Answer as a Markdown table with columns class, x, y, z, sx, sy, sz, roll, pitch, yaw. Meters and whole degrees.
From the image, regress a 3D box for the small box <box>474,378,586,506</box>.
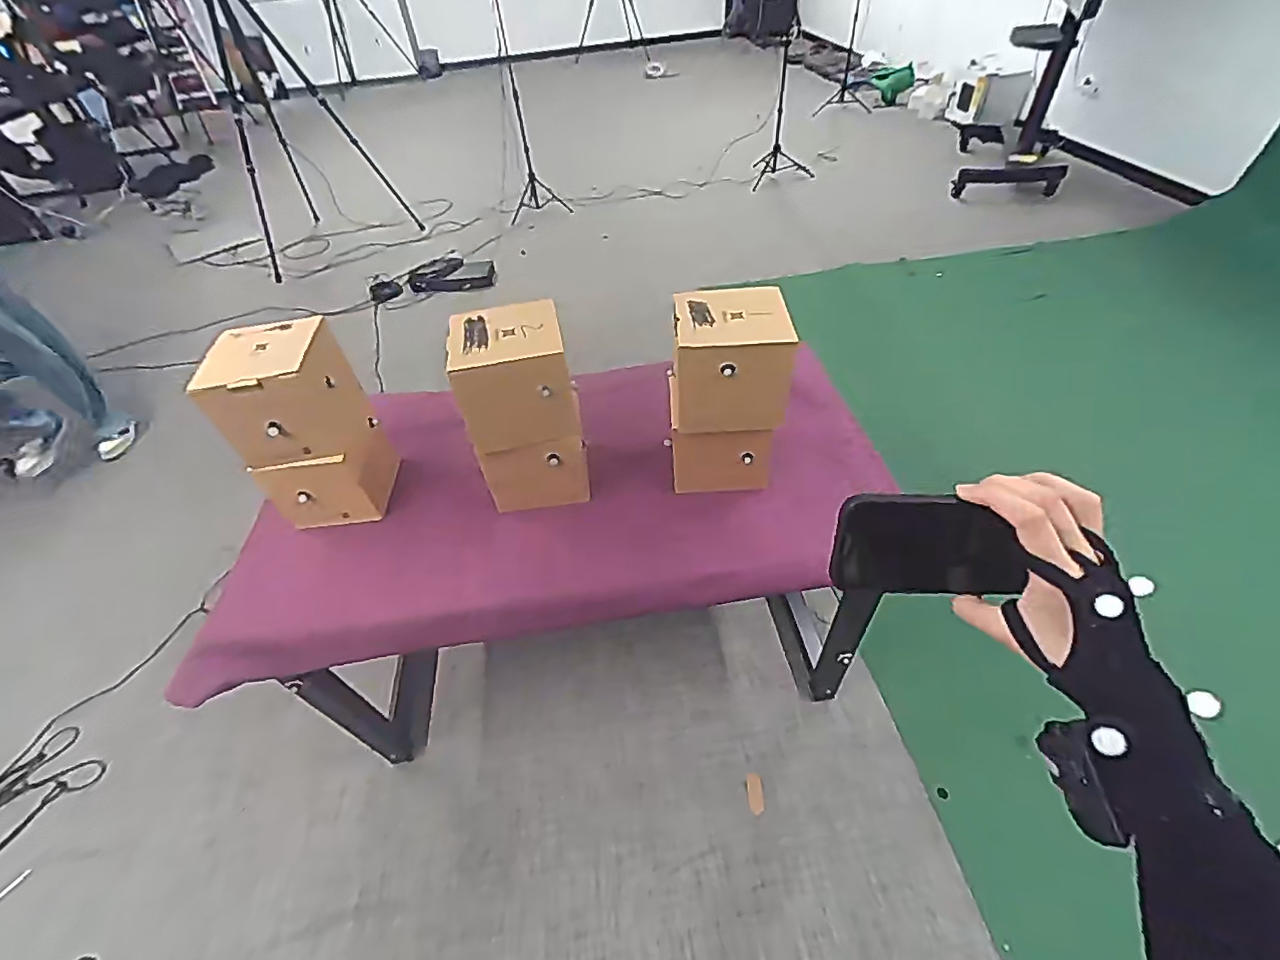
| class | x | y | z | sx | sy | sz | roll | pitch | yaw |
| --- | --- | --- | --- | --- | --- | --- | --- | --- | --- |
| small box | -0.196 | -0.069 | 1.024 | 0.179 | 0.176 | 0.168 | -6 | 47 | -1 |

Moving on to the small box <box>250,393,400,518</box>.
| class | x | y | z | sx | sy | sz | roll | pitch | yaw |
| --- | --- | --- | --- | --- | --- | --- | --- | --- | --- |
| small box | -0.586 | -0.040 | 1.036 | 0.168 | 0.176 | 0.179 | -6 | 47 | 0 |

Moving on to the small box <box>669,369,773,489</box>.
| class | x | y | z | sx | sy | sz | roll | pitch | yaw |
| --- | --- | --- | --- | --- | --- | --- | --- | --- | --- |
| small box | 0.144 | -0.096 | 1.019 | 0.179 | 0.176 | 0.168 | -2 | 47 | 4 |

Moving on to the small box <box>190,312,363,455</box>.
| class | x | y | z | sx | sy | sz | roll | pitch | yaw |
| --- | --- | --- | --- | --- | --- | --- | --- | --- | --- |
| small box | -0.598 | -0.157 | 0.921 | 0.168 | 0.176 | 0.179 | -9 | 48 | -4 |

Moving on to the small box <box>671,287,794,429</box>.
| class | x | y | z | sx | sy | sz | roll | pitch | yaw |
| --- | --- | --- | --- | --- | --- | --- | --- | --- | --- |
| small box | 0.142 | -0.197 | 0.889 | 0.179 | 0.176 | 0.168 | -2 | 47 | 3 |
